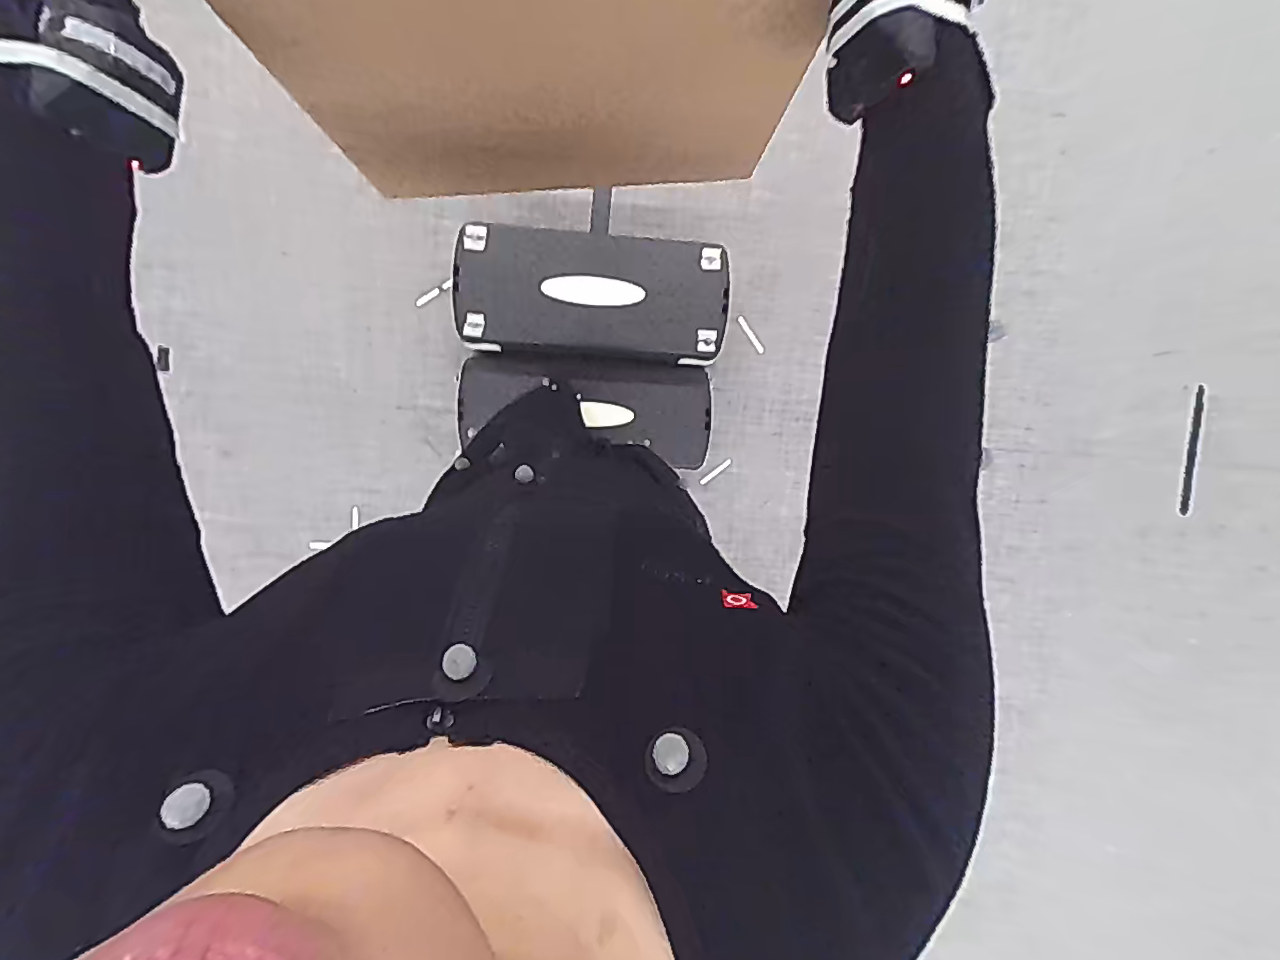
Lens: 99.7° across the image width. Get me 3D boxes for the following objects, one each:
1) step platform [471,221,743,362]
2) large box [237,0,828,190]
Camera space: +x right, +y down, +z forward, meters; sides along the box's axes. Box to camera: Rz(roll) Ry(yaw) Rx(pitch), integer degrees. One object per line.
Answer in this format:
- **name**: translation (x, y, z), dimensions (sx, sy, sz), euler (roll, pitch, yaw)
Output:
- **step platform**: translation (-0.080, -0.475, 1.396), dimensions (0.684, 0.204, 0.286), euler (3, 95, -5)
- **large box**: translation (-0.081, -0.472, 0.437), dimensions (0.408, 0.320, 0.320), euler (-5, 94, -4)
